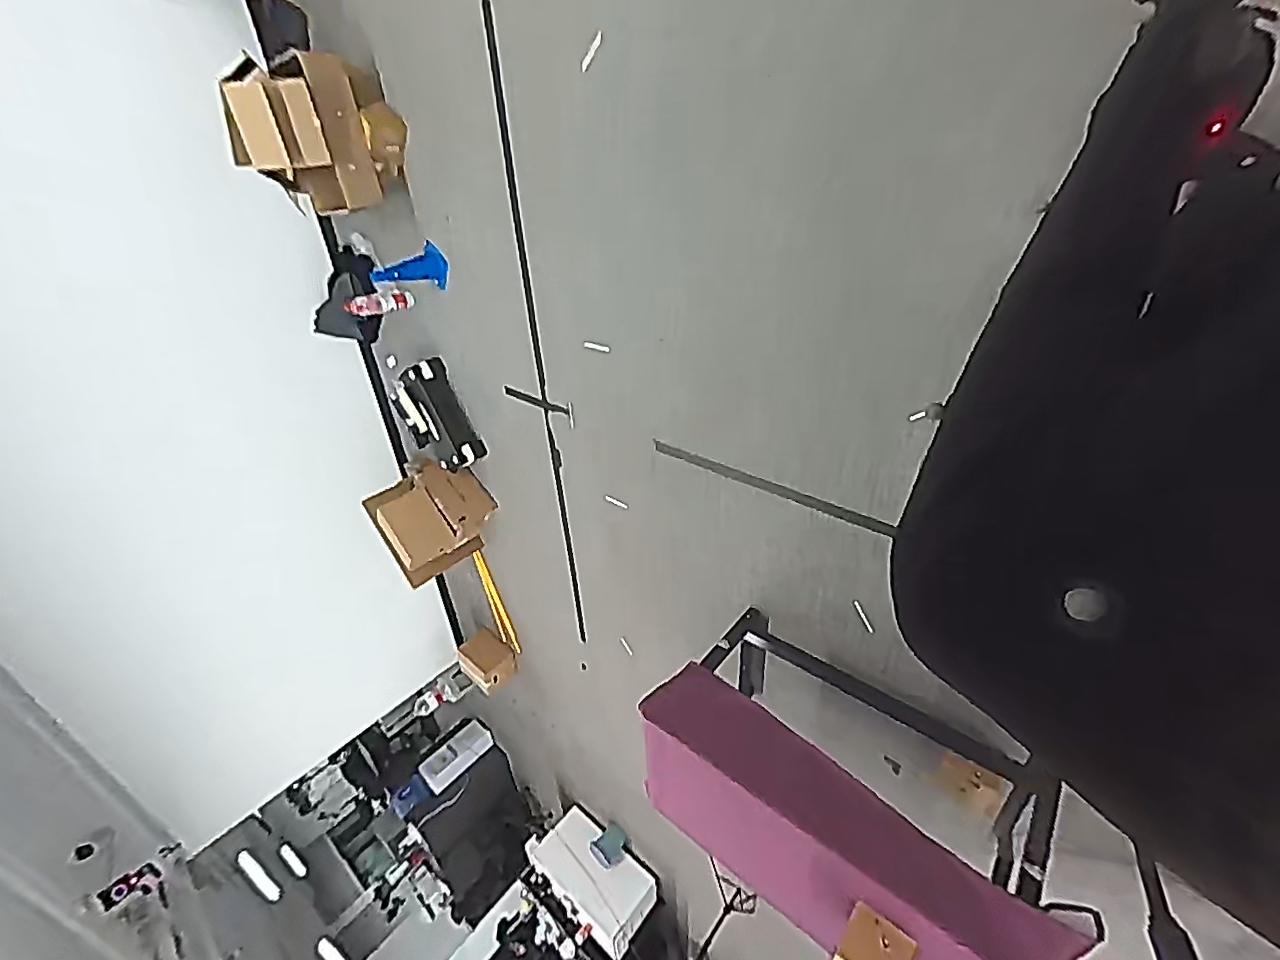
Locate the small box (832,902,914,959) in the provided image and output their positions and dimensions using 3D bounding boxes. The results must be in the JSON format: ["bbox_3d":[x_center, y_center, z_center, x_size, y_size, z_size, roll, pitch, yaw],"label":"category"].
[{"bbox_3d":[0.647,1.352,1.519,0.168,0.176,0.179,22,129,35],"label":"small box"}]
